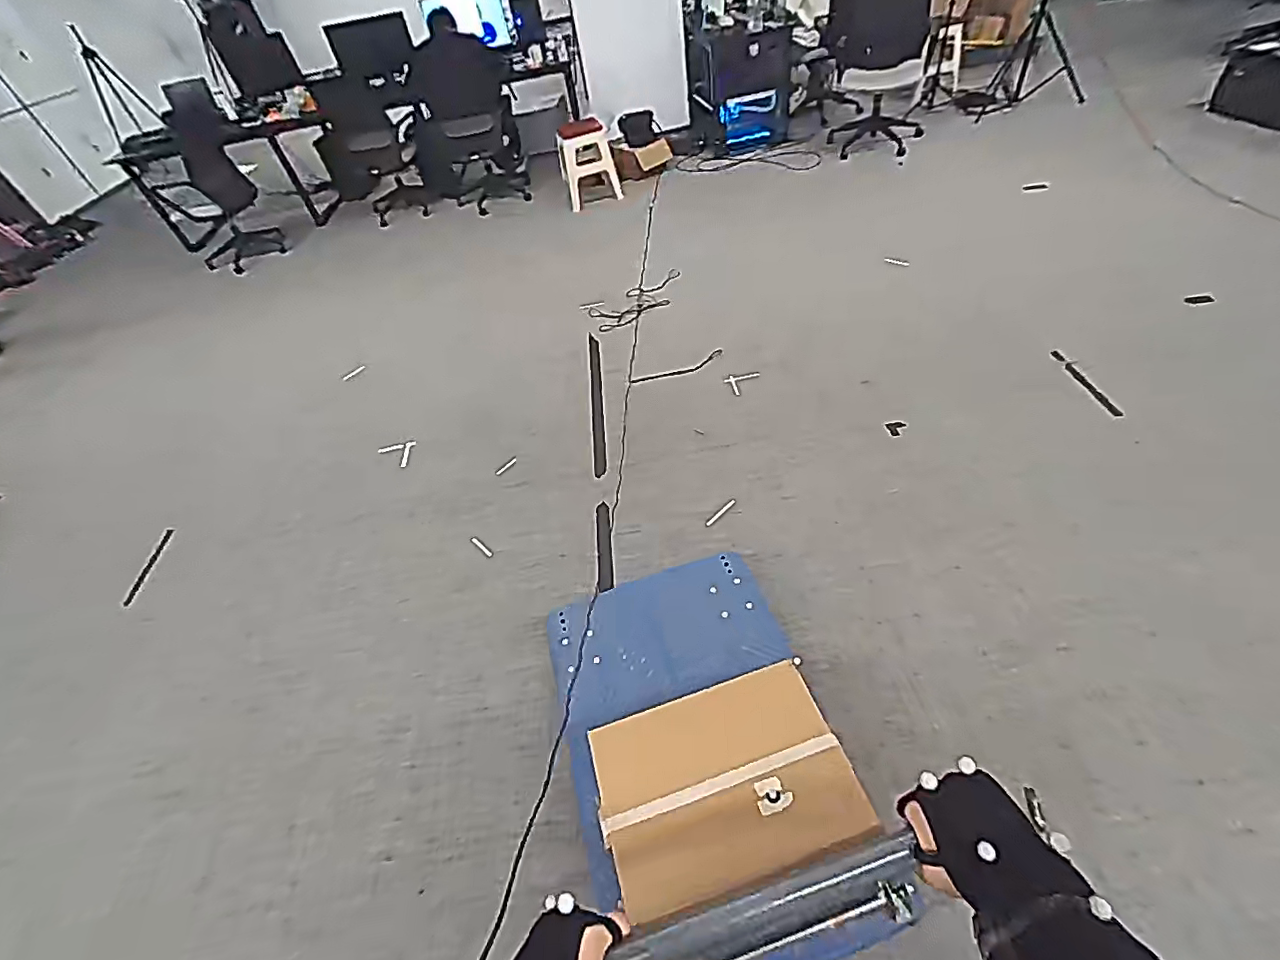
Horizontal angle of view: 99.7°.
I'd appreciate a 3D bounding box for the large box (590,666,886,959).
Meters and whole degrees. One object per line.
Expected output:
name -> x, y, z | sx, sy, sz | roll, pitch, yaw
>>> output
large box -> 0.159, 0.611, 0.985 | 0.408, 0.320, 0.320 | -18, 45, -6
